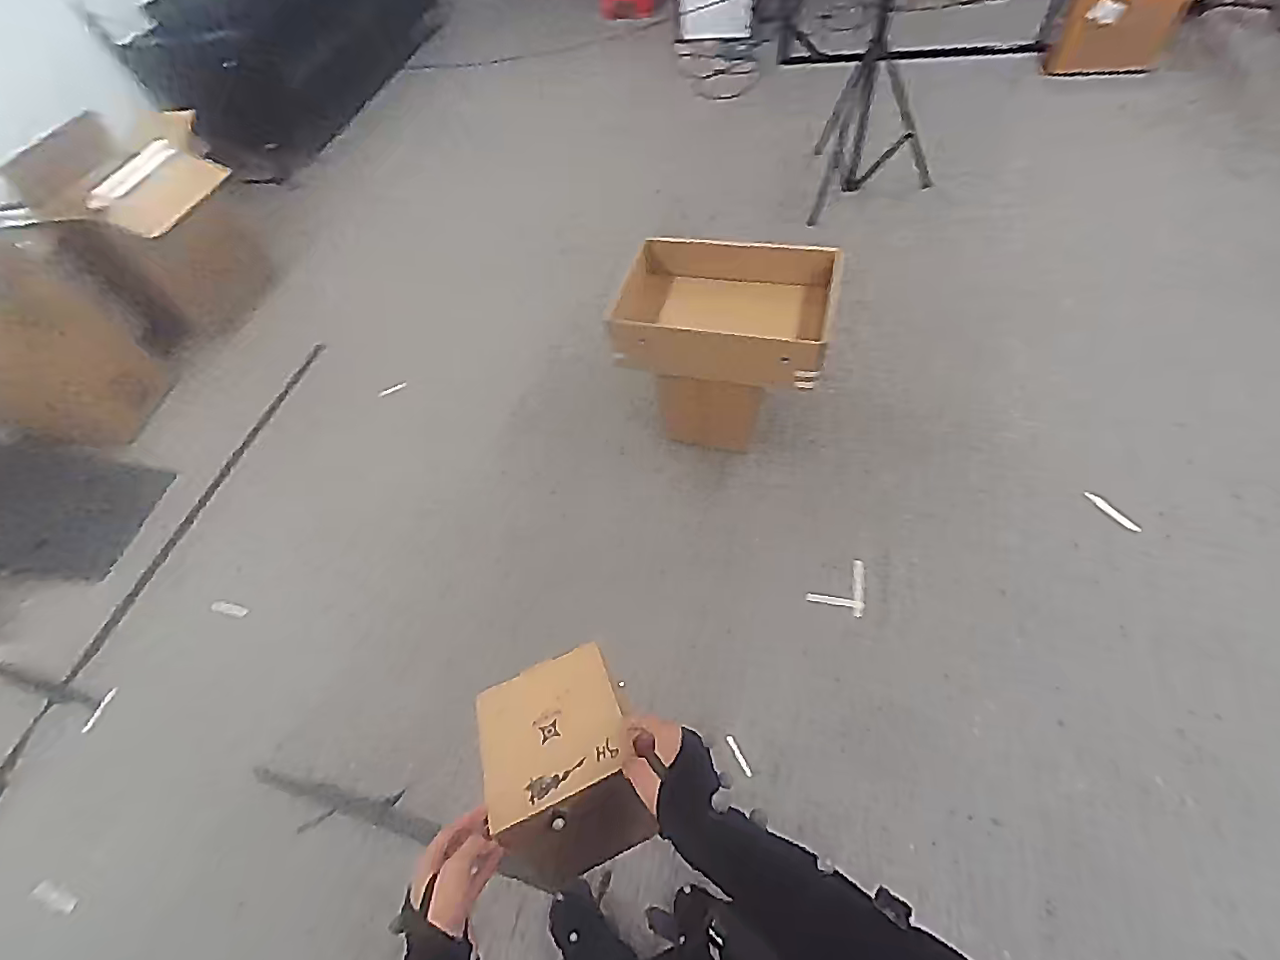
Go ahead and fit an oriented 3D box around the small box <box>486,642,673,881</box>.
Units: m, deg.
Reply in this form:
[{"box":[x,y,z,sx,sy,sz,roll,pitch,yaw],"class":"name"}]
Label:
[{"box":[-0.075,0.342,0.666,0.168,0.176,0.179,-23,36,-6],"class":"small box"}]
